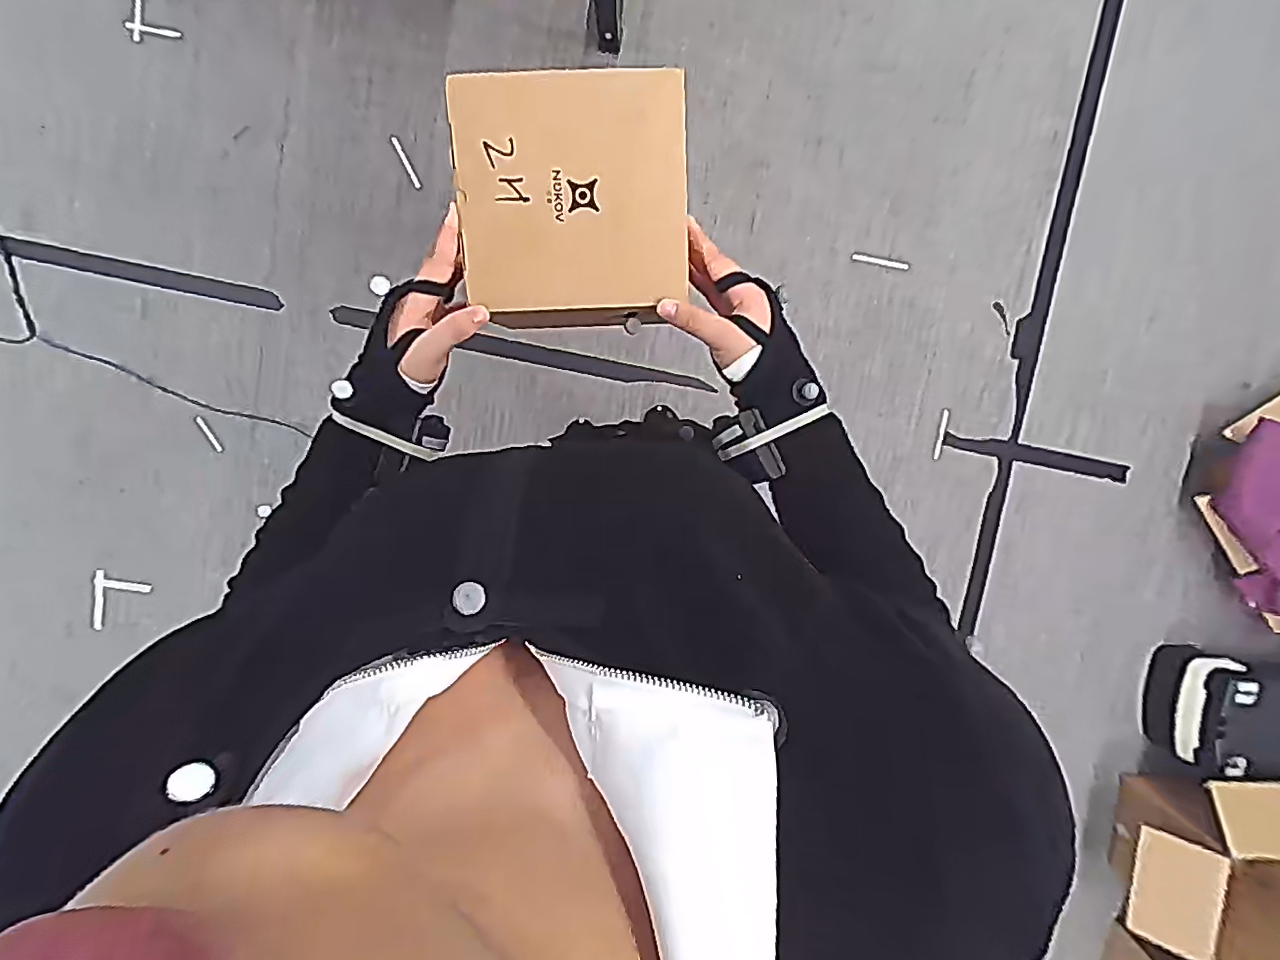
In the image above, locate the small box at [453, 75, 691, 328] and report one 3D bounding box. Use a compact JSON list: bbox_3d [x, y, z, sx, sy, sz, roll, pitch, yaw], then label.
[{"bbox_3d":[-0.051,-0.231,0.491,0.179,0.176,0.168,-2,101,-1],"label":"small box"}]
